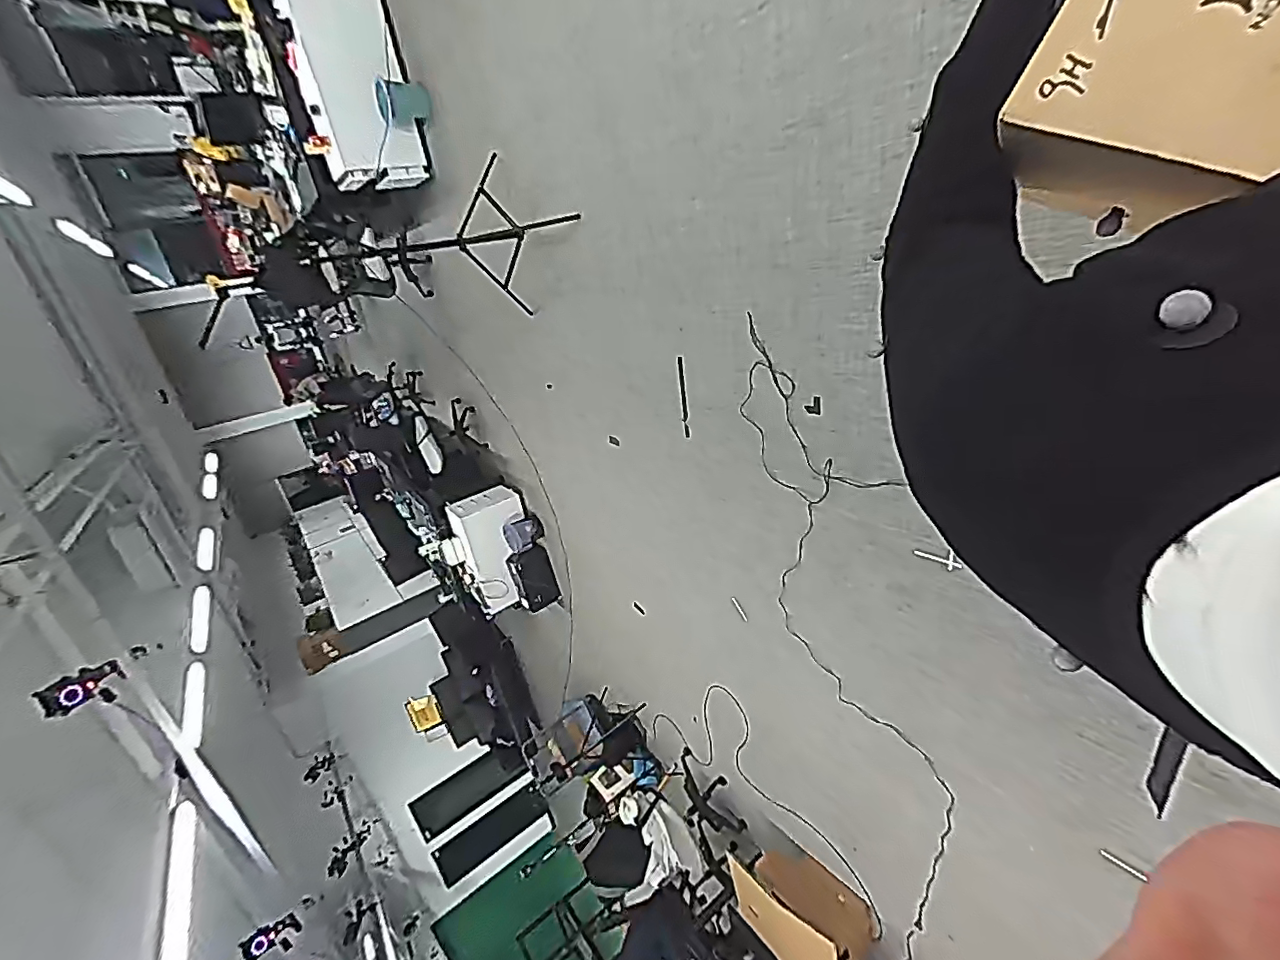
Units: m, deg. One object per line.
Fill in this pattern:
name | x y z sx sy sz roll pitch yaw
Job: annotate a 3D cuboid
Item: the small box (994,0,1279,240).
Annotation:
small box | 0.376 -0.278 0.359 0.179 0.176 0.168 36 117 26
